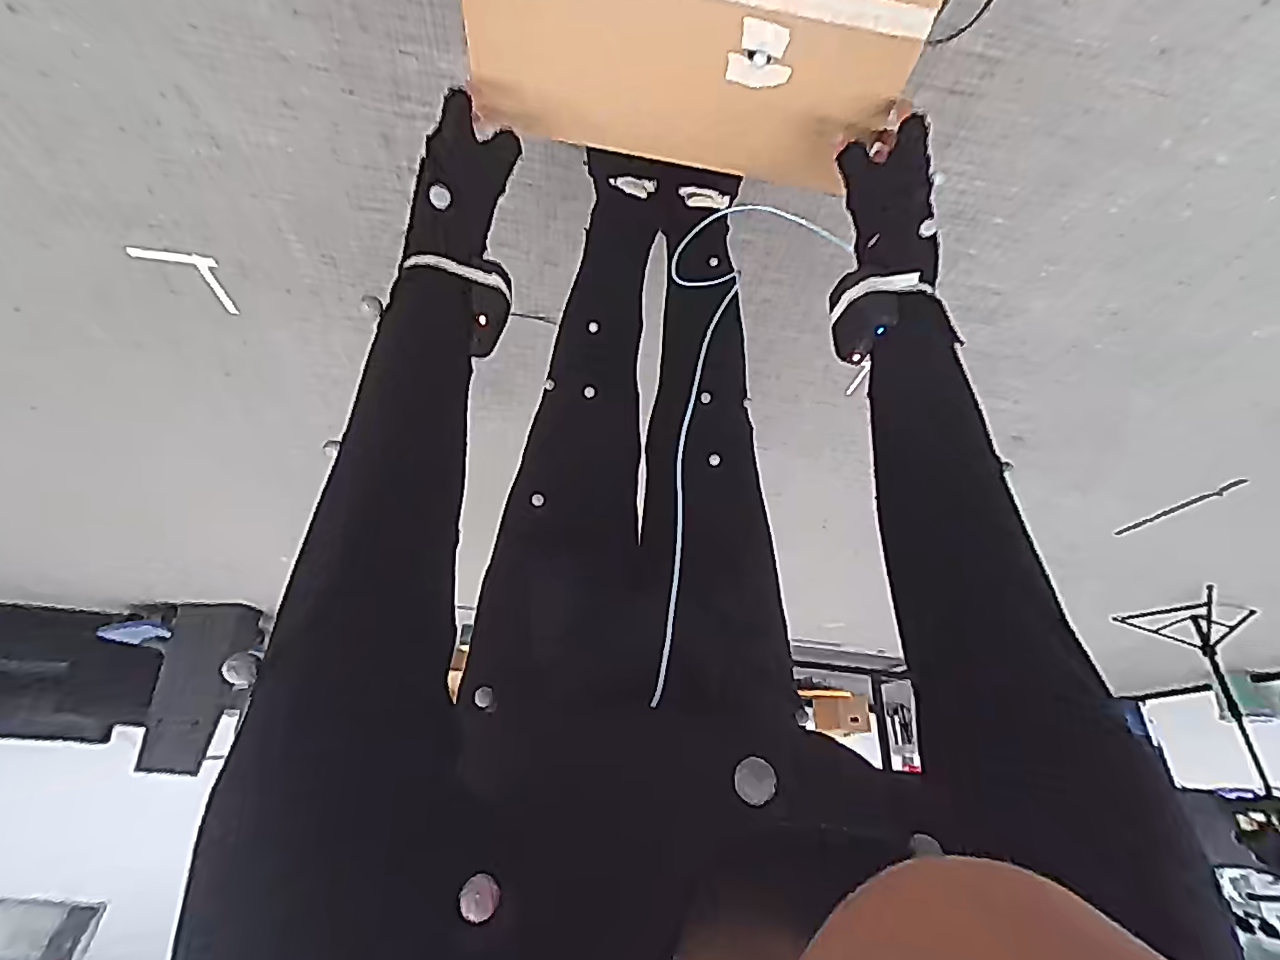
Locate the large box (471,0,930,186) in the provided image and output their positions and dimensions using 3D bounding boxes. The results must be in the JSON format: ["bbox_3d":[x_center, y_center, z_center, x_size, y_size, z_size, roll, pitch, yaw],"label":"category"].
[{"bbox_3d":[0.060,-0.554,0.534,0.408,0.320,0.320,8,150,-5],"label":"large box"}]
